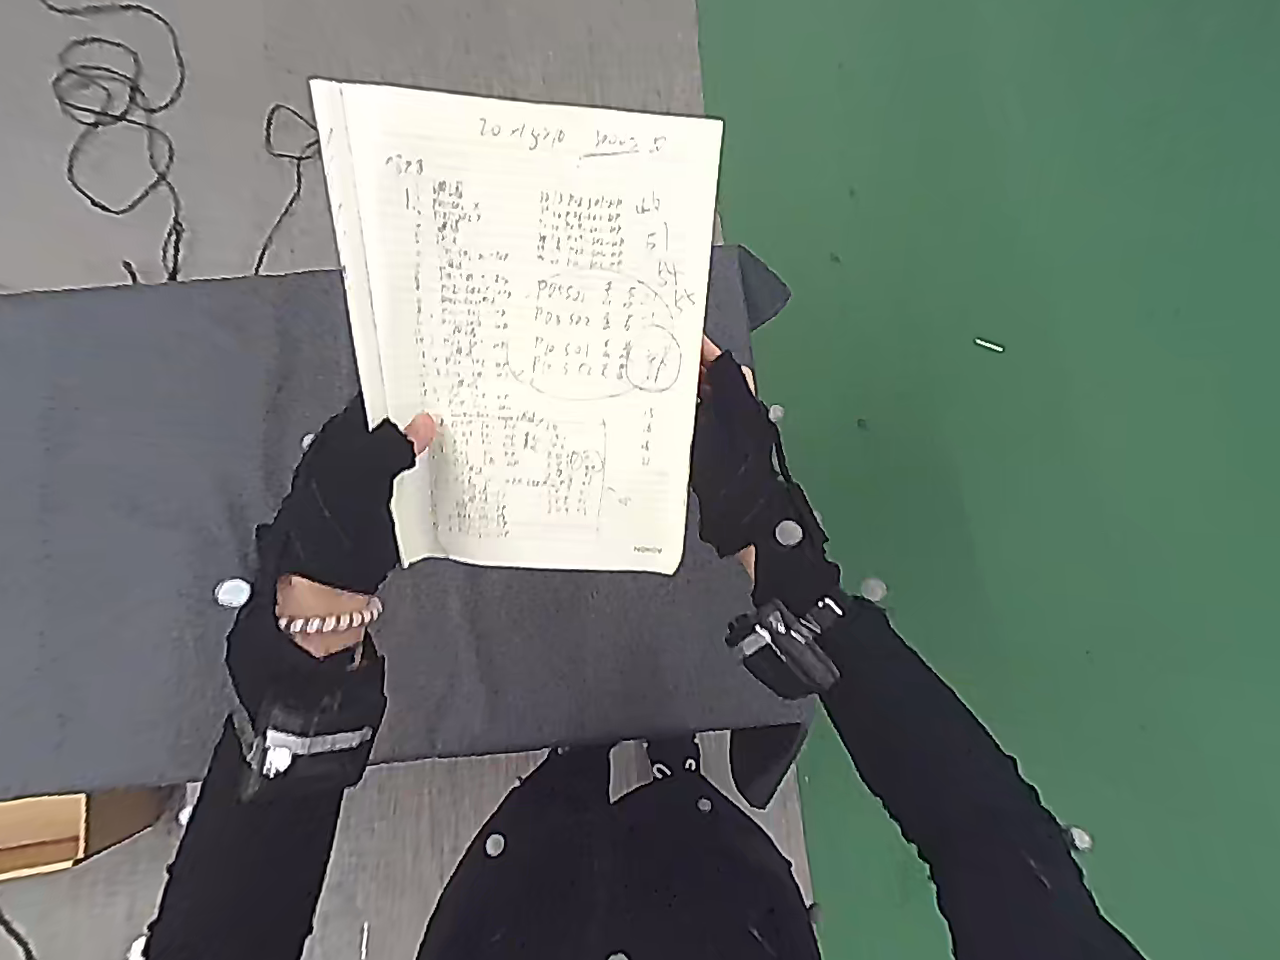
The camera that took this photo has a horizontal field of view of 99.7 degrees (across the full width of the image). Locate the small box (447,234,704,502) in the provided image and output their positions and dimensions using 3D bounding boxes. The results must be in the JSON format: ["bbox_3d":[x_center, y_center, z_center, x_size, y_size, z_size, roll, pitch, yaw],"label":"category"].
[{"bbox_3d":[-0.050,-0.077,0.455,0.168,0.176,0.179,-7,88,-3],"label":"small box"}]
